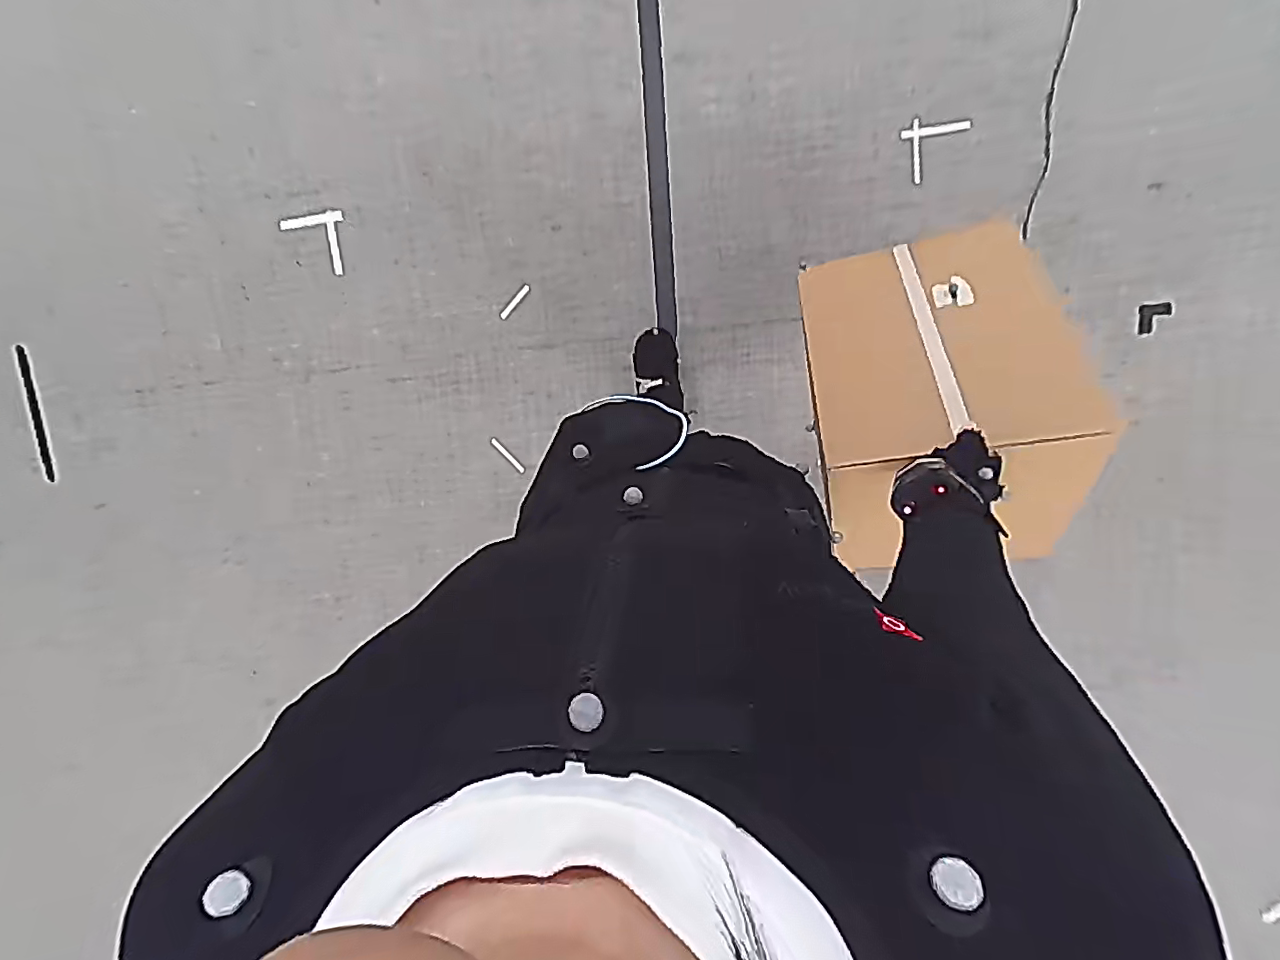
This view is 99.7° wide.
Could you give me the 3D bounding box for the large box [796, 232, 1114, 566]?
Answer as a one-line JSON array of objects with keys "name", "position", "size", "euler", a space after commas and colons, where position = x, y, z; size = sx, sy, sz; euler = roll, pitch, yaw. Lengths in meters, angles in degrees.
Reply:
[{"name": "large box", "position": [0.446, -0.117, 0.873], "size": [0.320, 0.320, 0.408], "euler": [-7, 53, 16]}]
